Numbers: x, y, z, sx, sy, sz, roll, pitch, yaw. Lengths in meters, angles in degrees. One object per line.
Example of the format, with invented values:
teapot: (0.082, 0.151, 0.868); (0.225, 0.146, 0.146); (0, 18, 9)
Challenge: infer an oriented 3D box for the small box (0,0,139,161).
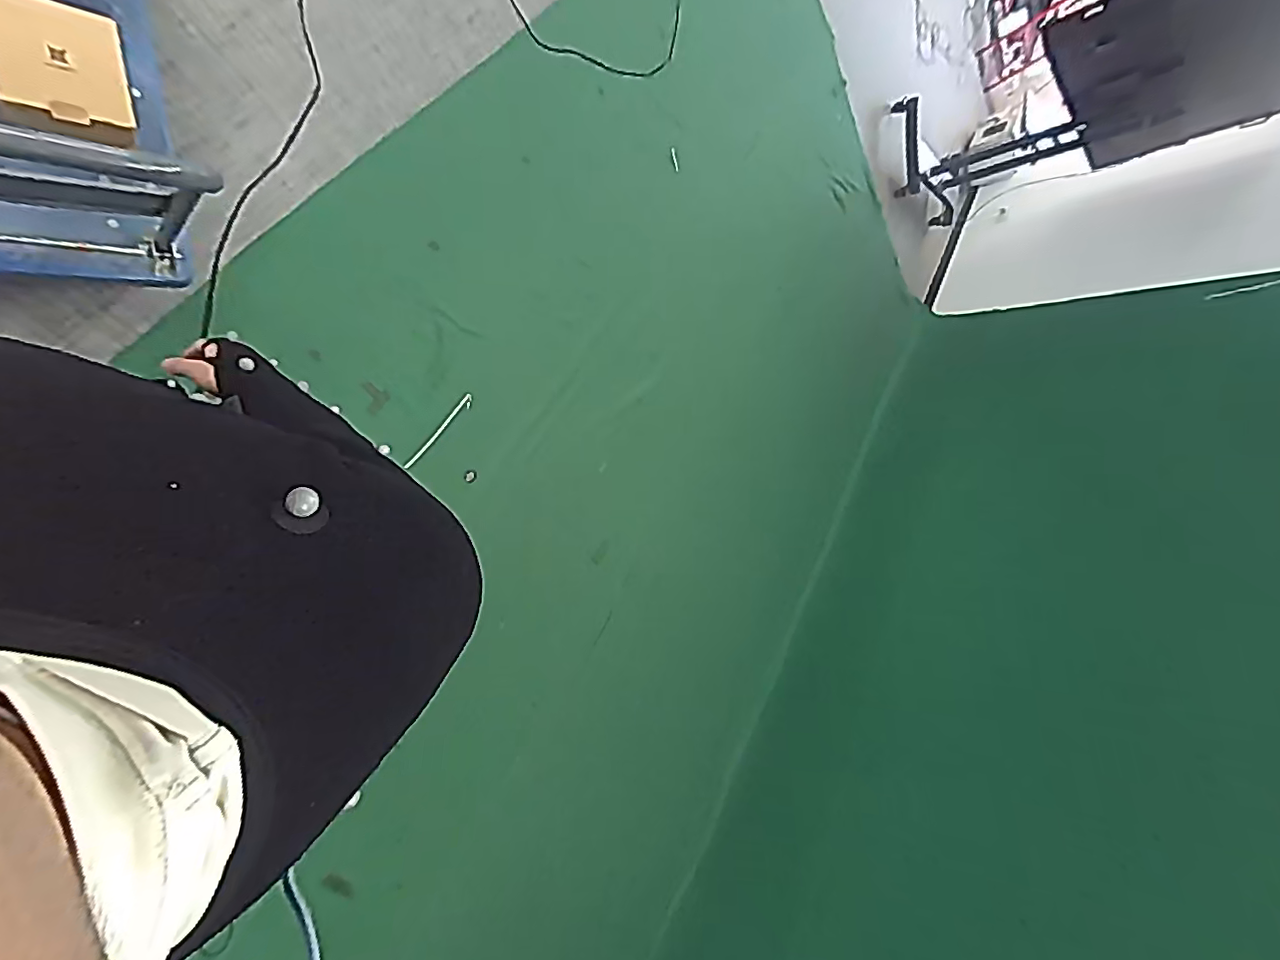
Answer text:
small box: (-1.004, -0.692, 0.939); (0.168, 0.176, 0.179); (-13, 104, -43)
